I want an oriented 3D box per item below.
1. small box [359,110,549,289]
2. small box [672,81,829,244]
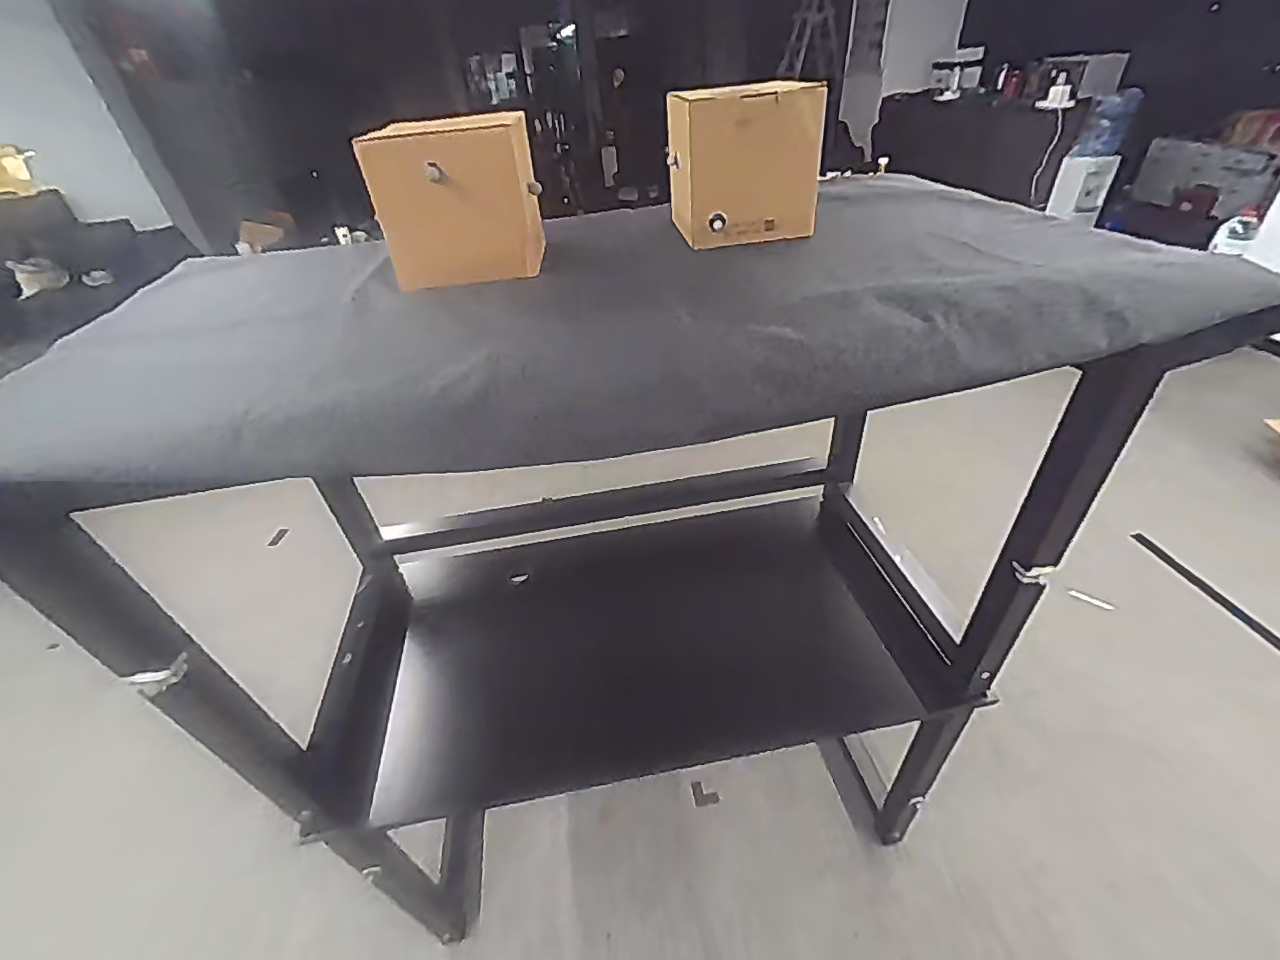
[{"bbox_3d":[-0.218,-0.361,0.697,0.179,0.176,0.168,-6,38,0],"label":"small box"},{"bbox_3d":[0.140,-0.429,0.738,0.168,0.176,0.179,-7,37,-2],"label":"small box"}]
